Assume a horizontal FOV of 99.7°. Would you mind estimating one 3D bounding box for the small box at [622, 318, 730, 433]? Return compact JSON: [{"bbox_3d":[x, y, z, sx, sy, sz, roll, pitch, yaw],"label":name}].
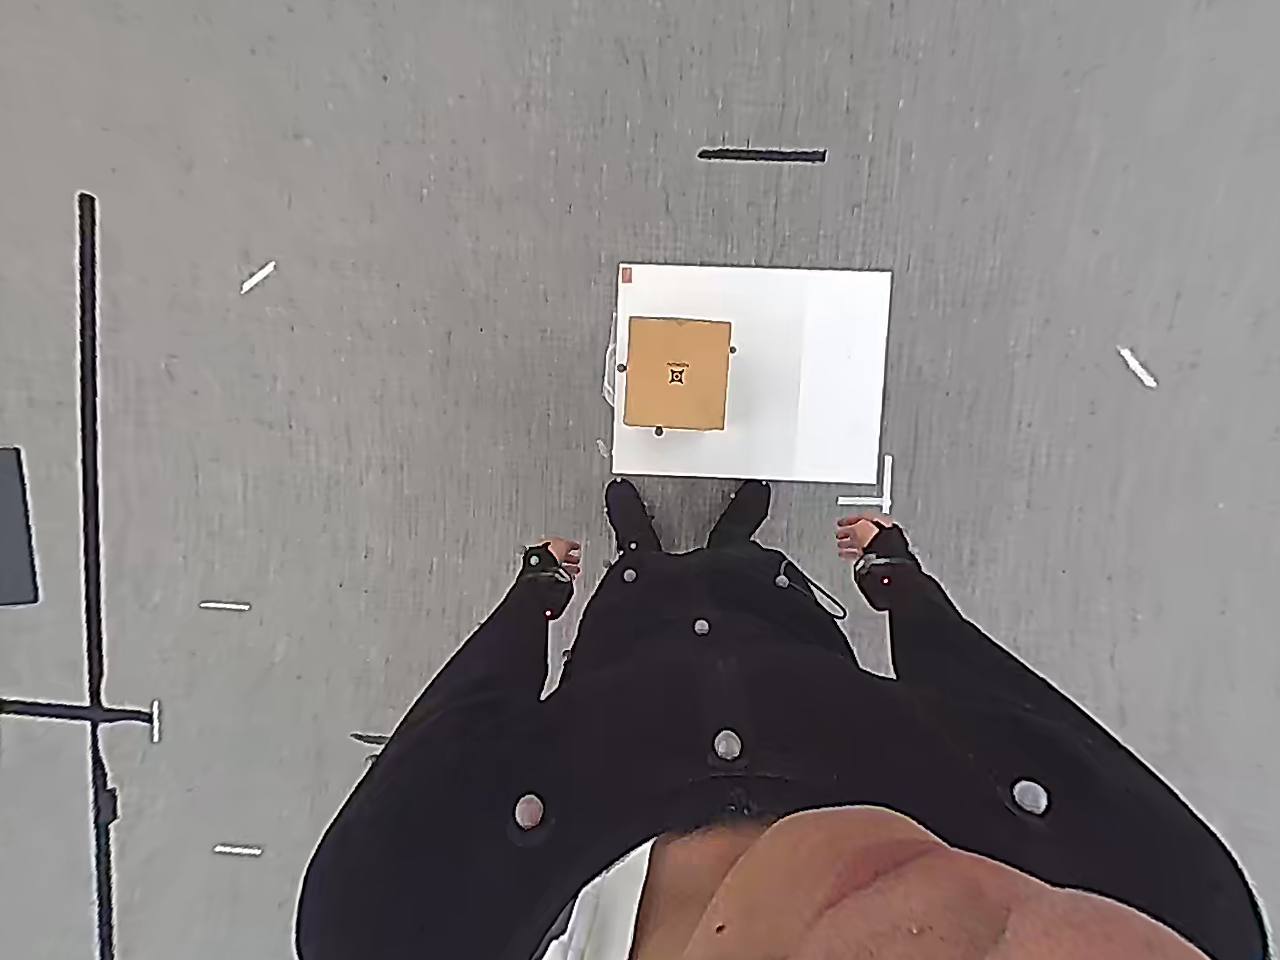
[{"bbox_3d":[0.059,-0.174,0.948,0.168,0.176,0.179,3,94,1],"label":"small box"}]
